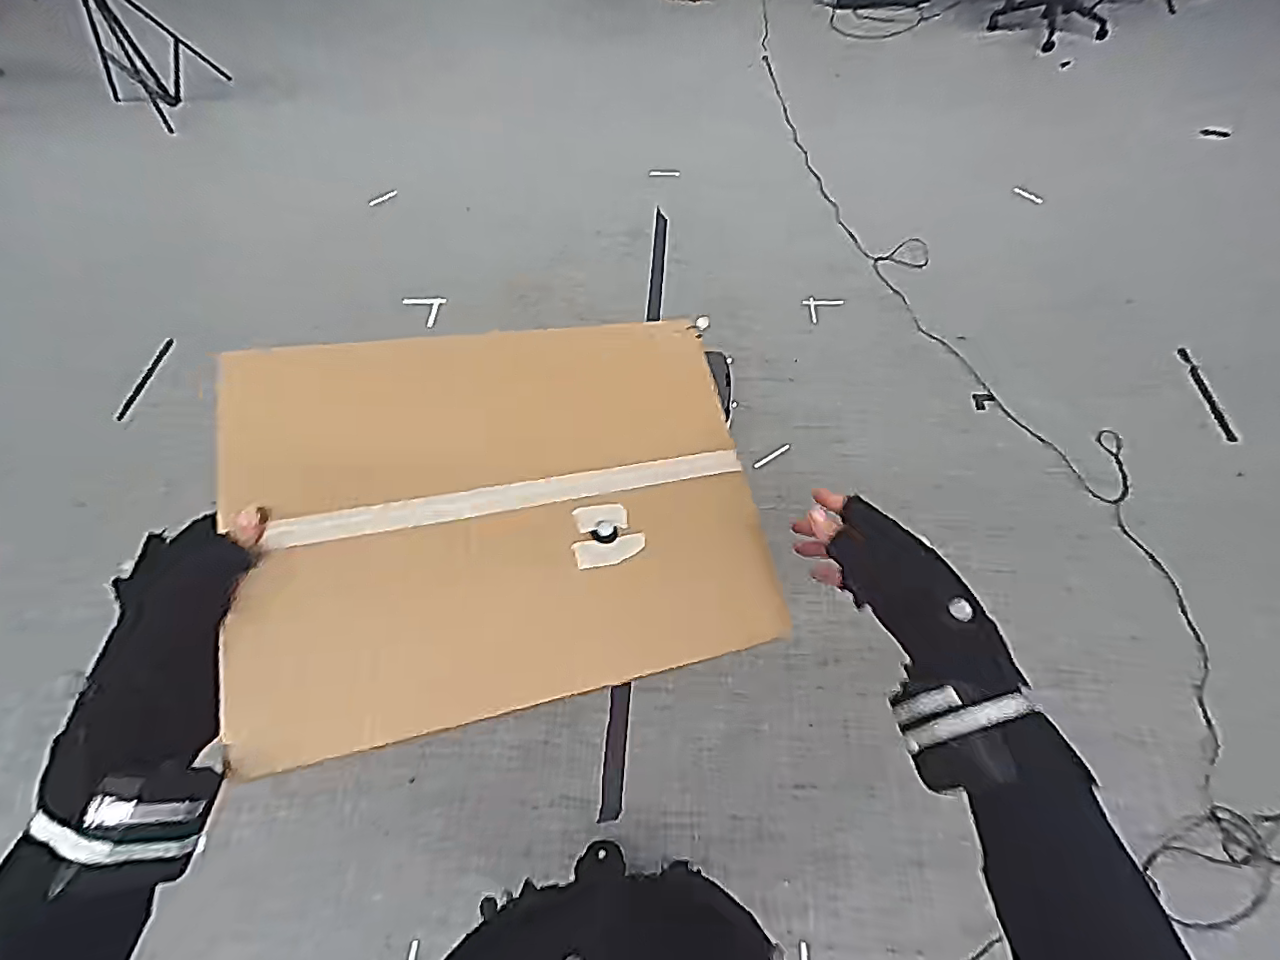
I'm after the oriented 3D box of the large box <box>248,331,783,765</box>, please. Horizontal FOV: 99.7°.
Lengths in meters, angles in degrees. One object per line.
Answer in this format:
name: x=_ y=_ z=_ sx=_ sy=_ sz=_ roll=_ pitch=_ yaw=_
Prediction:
large box: x=-0.131 y=0.072 z=0.585 sx=0.408 sy=0.320 sz=0.320 roll=-8 pitch=72 yaw=-16
